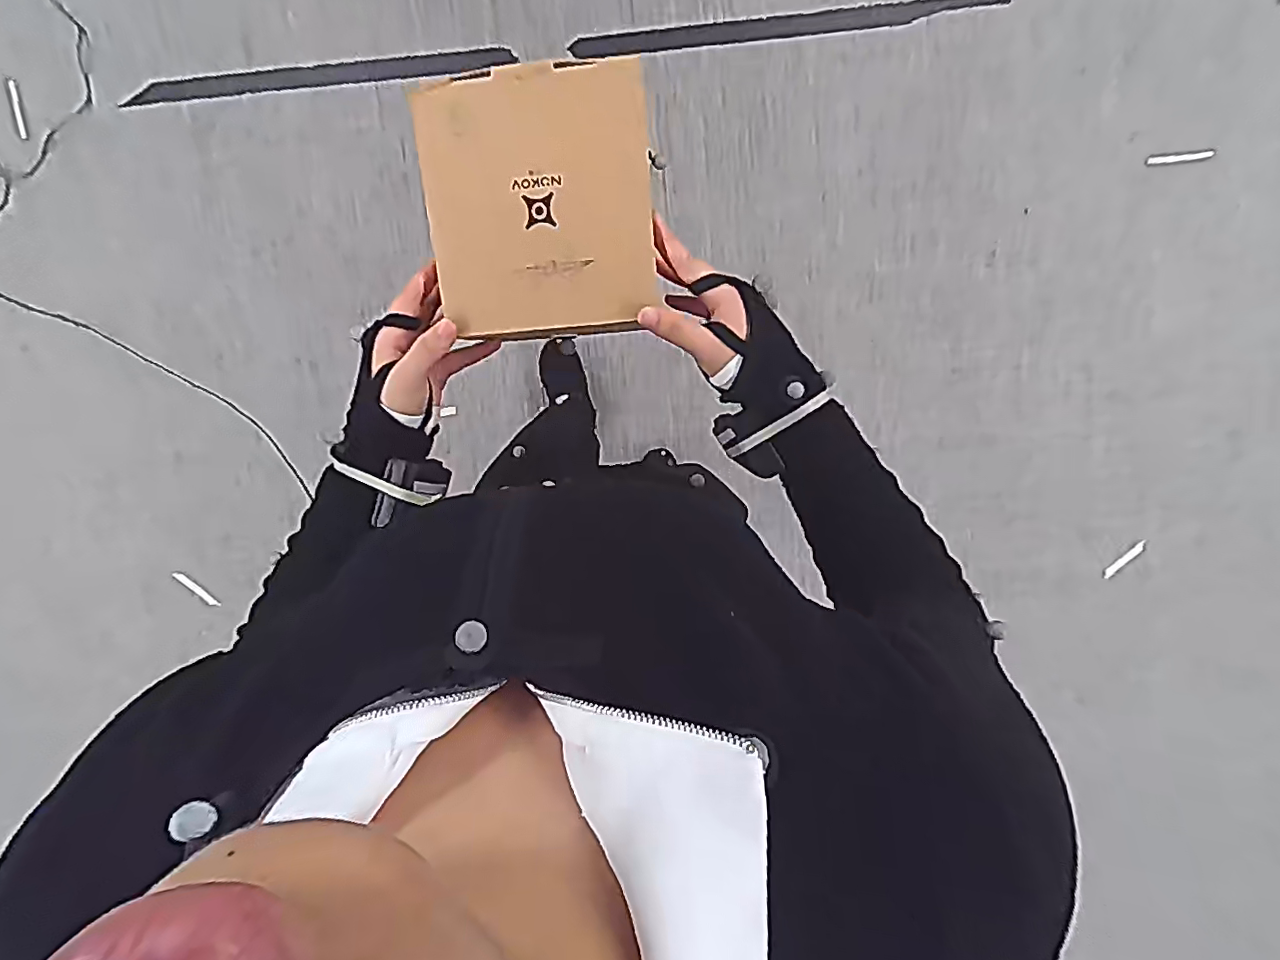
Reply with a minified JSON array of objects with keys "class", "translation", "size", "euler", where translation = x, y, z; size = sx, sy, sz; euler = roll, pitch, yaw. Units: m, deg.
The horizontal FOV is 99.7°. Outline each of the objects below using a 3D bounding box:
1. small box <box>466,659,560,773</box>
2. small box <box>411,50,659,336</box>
[{"class":"small box","translation":[-0.277,0.525,1.217],"size":[0.168,0.176,0.179],"euler":[-2,98,2]},{"class":"small box","translation":[-0.071,-0.222,0.468],"size":[0.168,0.176,0.179],"euler":[-4,104,4]}]
